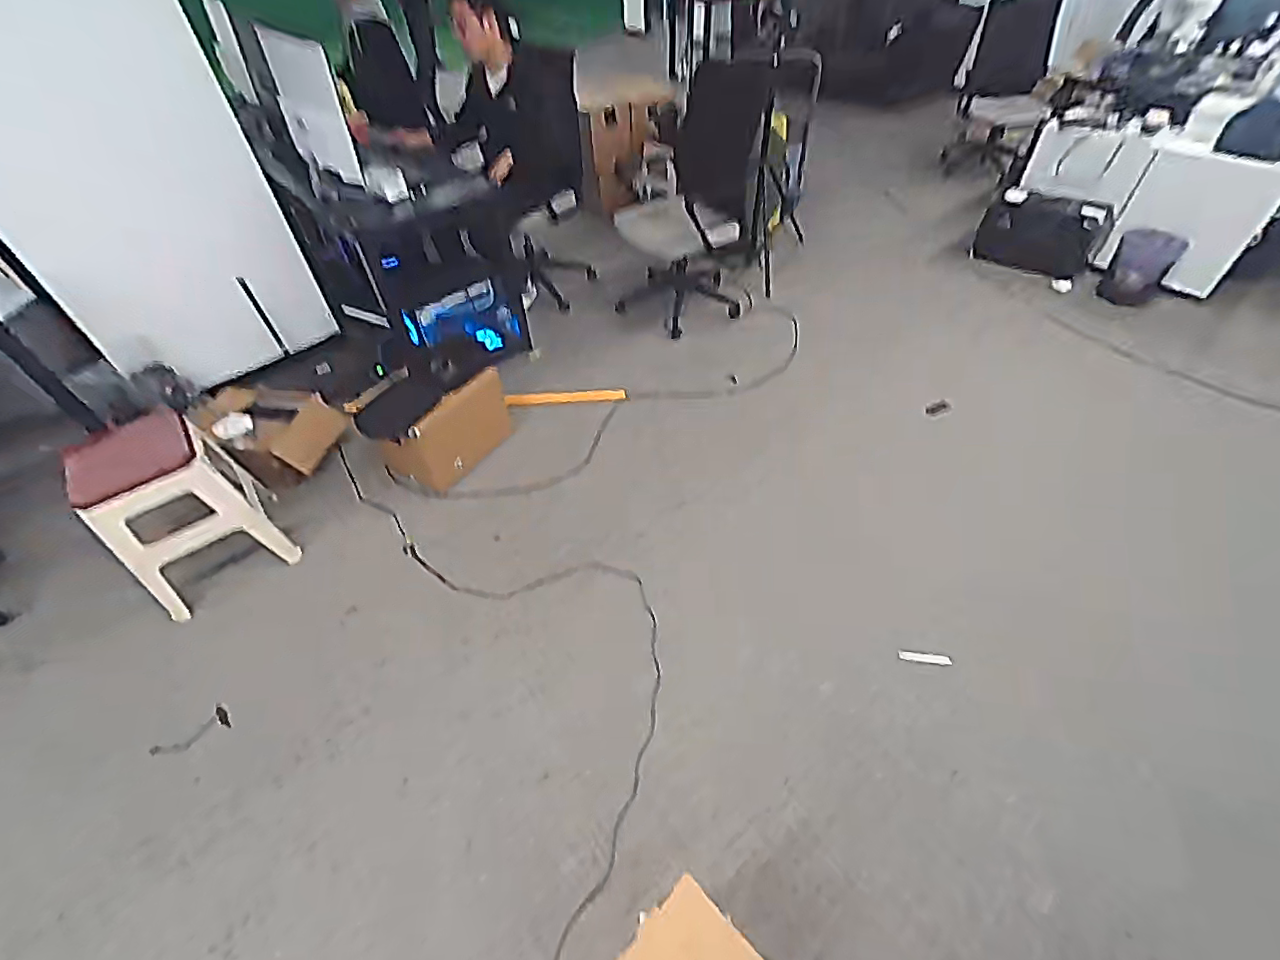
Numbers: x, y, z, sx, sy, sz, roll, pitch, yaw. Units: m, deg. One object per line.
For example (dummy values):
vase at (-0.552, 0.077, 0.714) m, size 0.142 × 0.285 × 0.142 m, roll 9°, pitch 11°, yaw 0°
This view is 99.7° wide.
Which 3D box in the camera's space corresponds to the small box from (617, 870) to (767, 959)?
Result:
small box at (0.078, 0.725, 0.787) m, size 0.179 × 0.176 × 0.168 m, roll 35°, pitch 58°, yaw 30°
